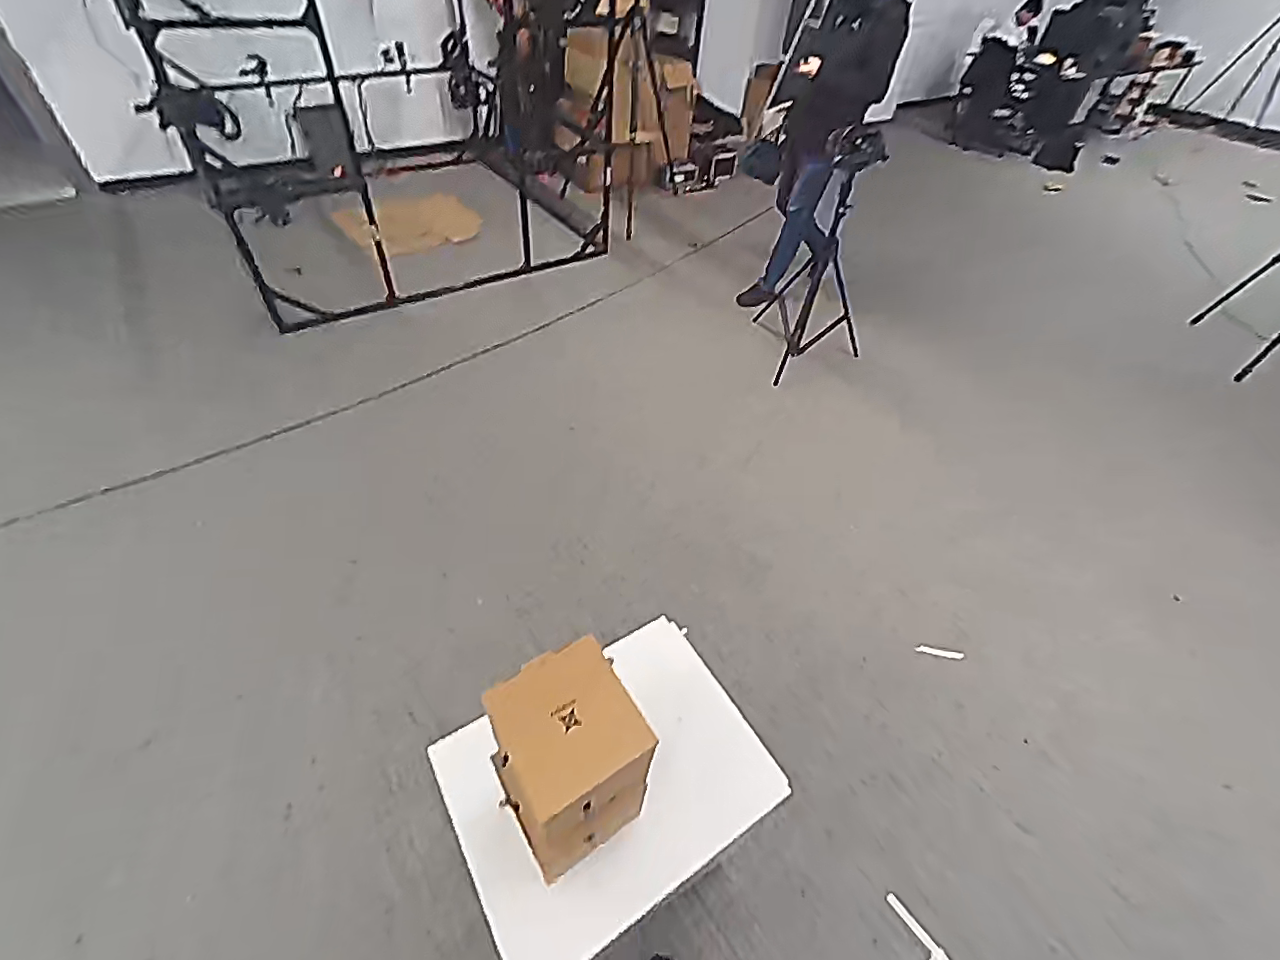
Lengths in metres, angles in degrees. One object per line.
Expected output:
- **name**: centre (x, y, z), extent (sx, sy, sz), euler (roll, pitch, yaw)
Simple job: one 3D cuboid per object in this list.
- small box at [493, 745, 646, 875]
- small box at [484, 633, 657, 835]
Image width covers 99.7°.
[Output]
- **small box**: centre (-0.110, 0.477, 0.850), extent (0.179, 0.176, 0.168), euler (-24, 53, -27)
- **small box**: centre (-0.095, 0.353, 0.745), extent (0.168, 0.176, 0.179), euler (-23, 52, -25)
